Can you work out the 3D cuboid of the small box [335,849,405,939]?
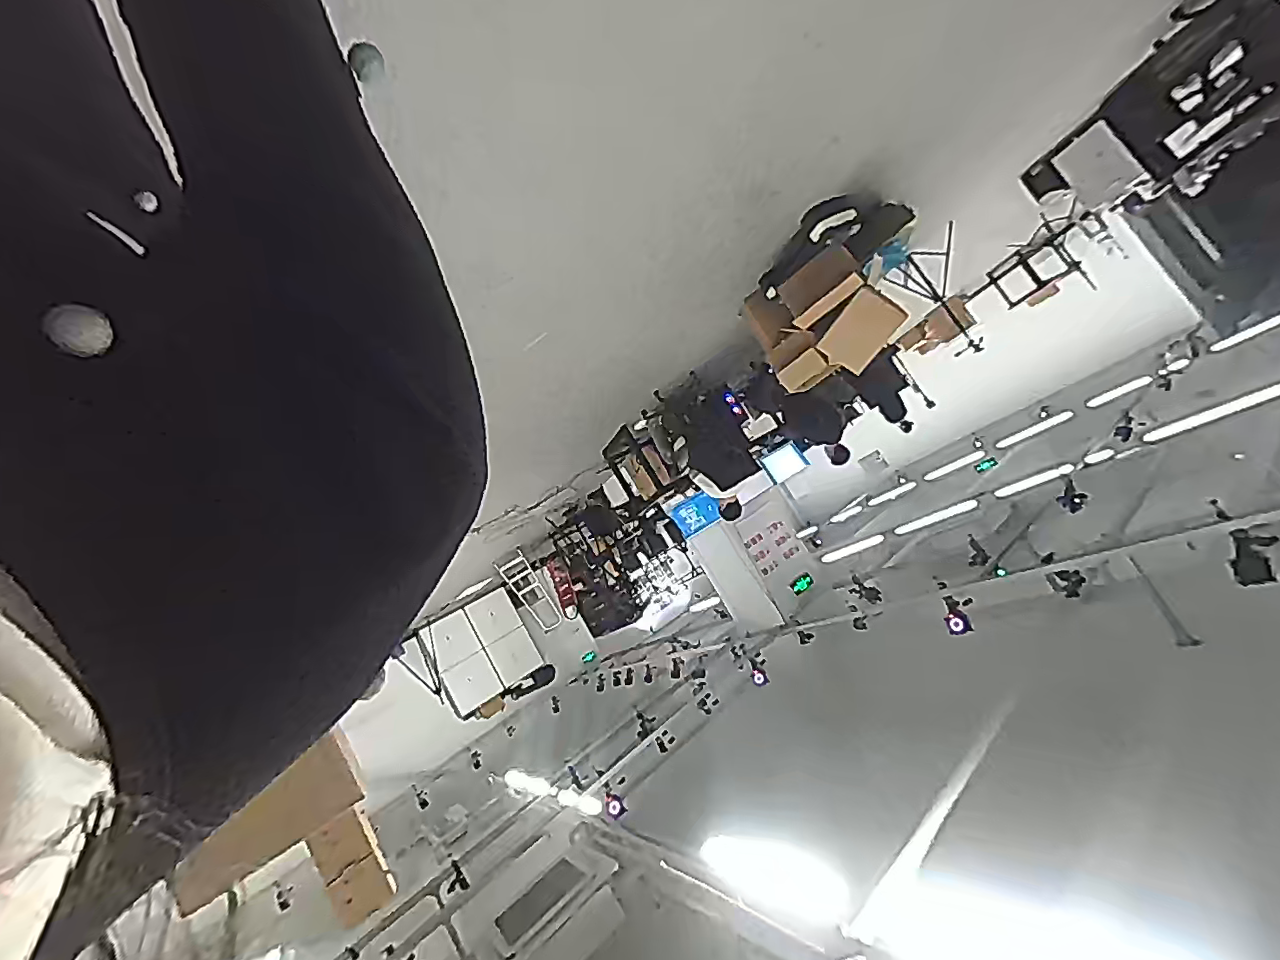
[{"bbox_3d":[-0.940,1.429,1.882,0.168,0.176,0.179,-27,170,-31],"label":"small box"}]

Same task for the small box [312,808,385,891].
[{"bbox_3d":[-1.031,1.298,1.914,0.168,0.176,0.179,-29,169,-30],"label":"small box"}]
